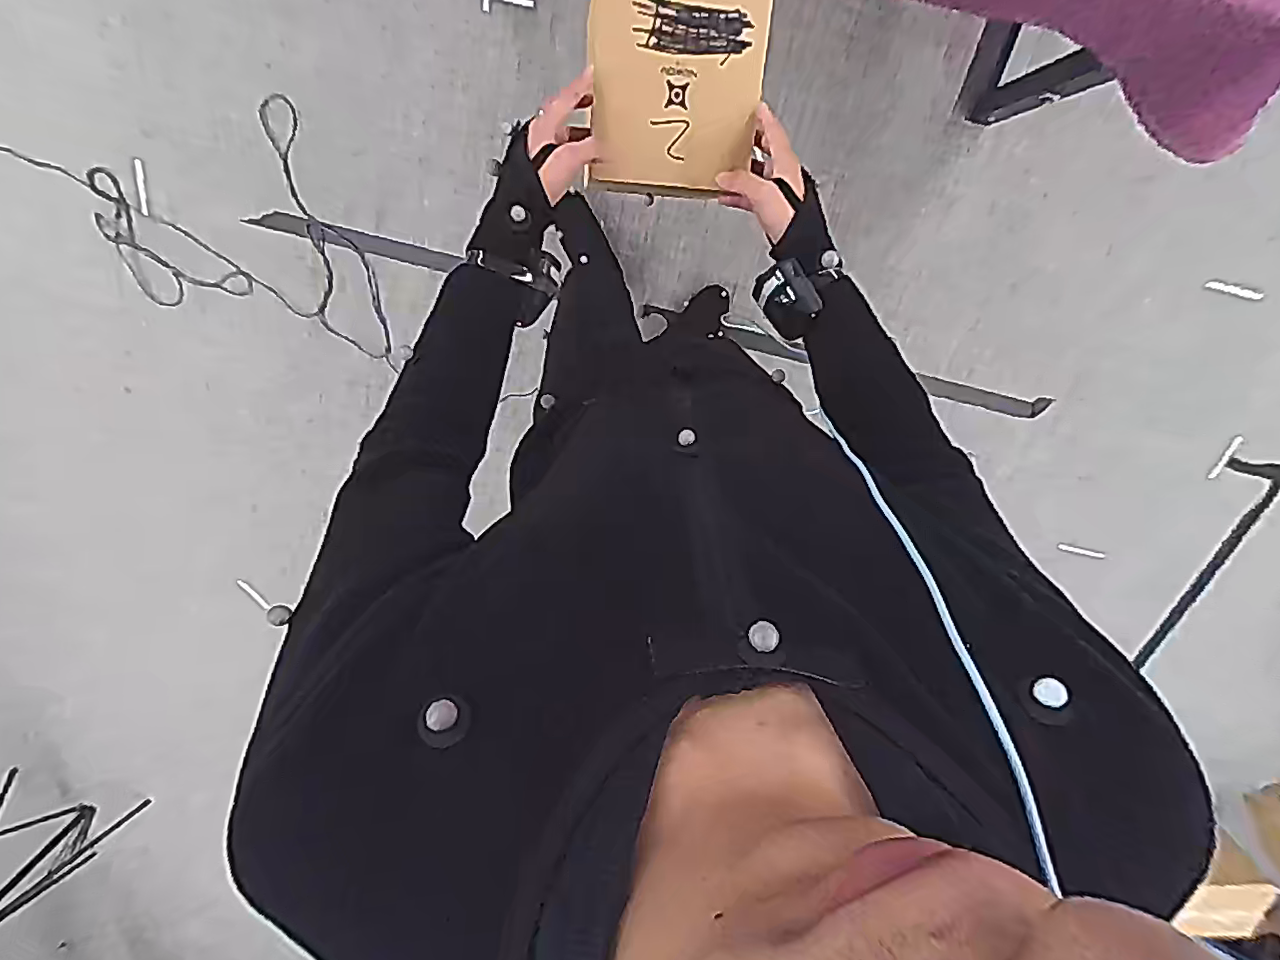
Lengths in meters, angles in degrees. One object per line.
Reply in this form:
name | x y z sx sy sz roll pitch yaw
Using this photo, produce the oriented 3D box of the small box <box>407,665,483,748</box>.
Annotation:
small box | -0.642 0.743 1.790 0.179 0.176 0.168 15 112 -3
